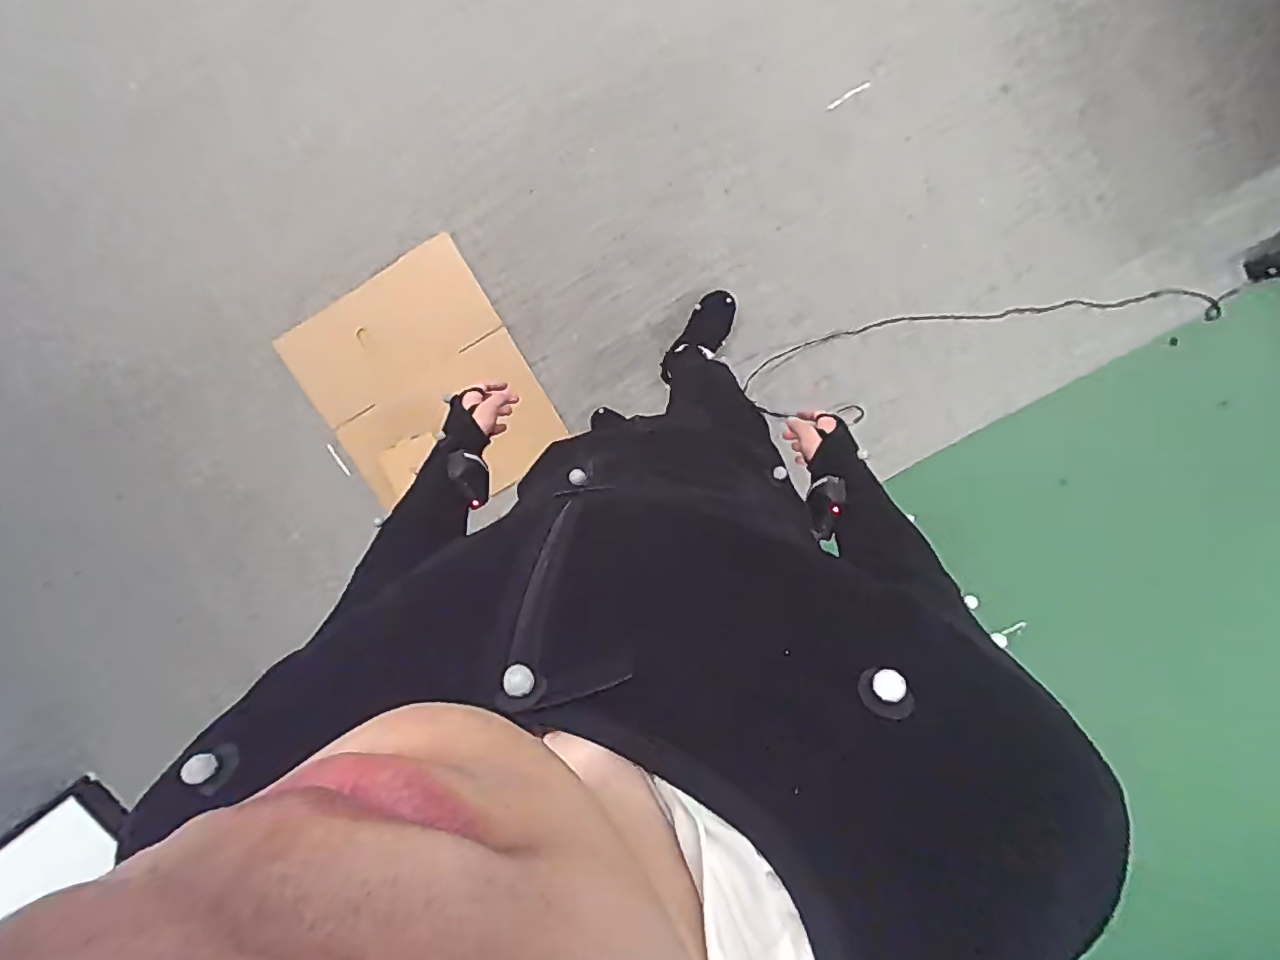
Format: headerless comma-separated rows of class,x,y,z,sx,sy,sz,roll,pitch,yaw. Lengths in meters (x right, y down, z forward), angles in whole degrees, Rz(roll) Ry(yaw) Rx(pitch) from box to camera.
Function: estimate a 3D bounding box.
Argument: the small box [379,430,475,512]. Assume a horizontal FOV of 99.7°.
small box,-0.595,-0.034,1.534,0.168,0.176,0.179,-21,101,5
